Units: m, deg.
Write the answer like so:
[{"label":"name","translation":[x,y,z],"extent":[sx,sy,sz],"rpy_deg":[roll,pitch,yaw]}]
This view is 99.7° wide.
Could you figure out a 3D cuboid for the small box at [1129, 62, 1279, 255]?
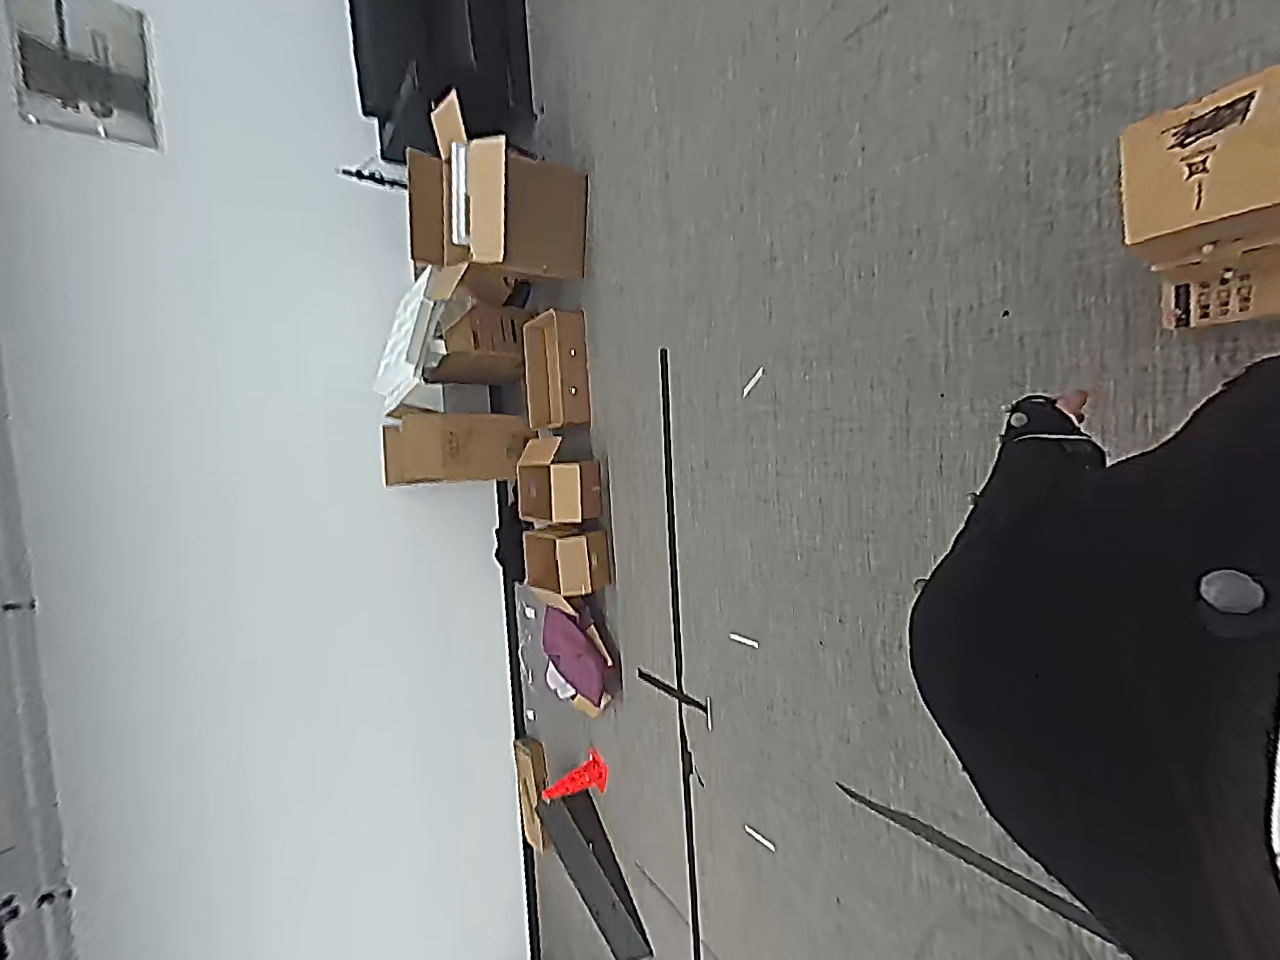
[{"label":"small box","translation":[0.850,-0.456,0.798],"extent":[0.168,0.176,0.179],"rpy_deg":[-1,94,54]}]

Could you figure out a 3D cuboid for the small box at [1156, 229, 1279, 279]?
[{"label":"small box","translation":[0.985,-0.452,0.893],"extent":[0.168,0.176,0.179],"rpy_deg":[2,96,54]}]
